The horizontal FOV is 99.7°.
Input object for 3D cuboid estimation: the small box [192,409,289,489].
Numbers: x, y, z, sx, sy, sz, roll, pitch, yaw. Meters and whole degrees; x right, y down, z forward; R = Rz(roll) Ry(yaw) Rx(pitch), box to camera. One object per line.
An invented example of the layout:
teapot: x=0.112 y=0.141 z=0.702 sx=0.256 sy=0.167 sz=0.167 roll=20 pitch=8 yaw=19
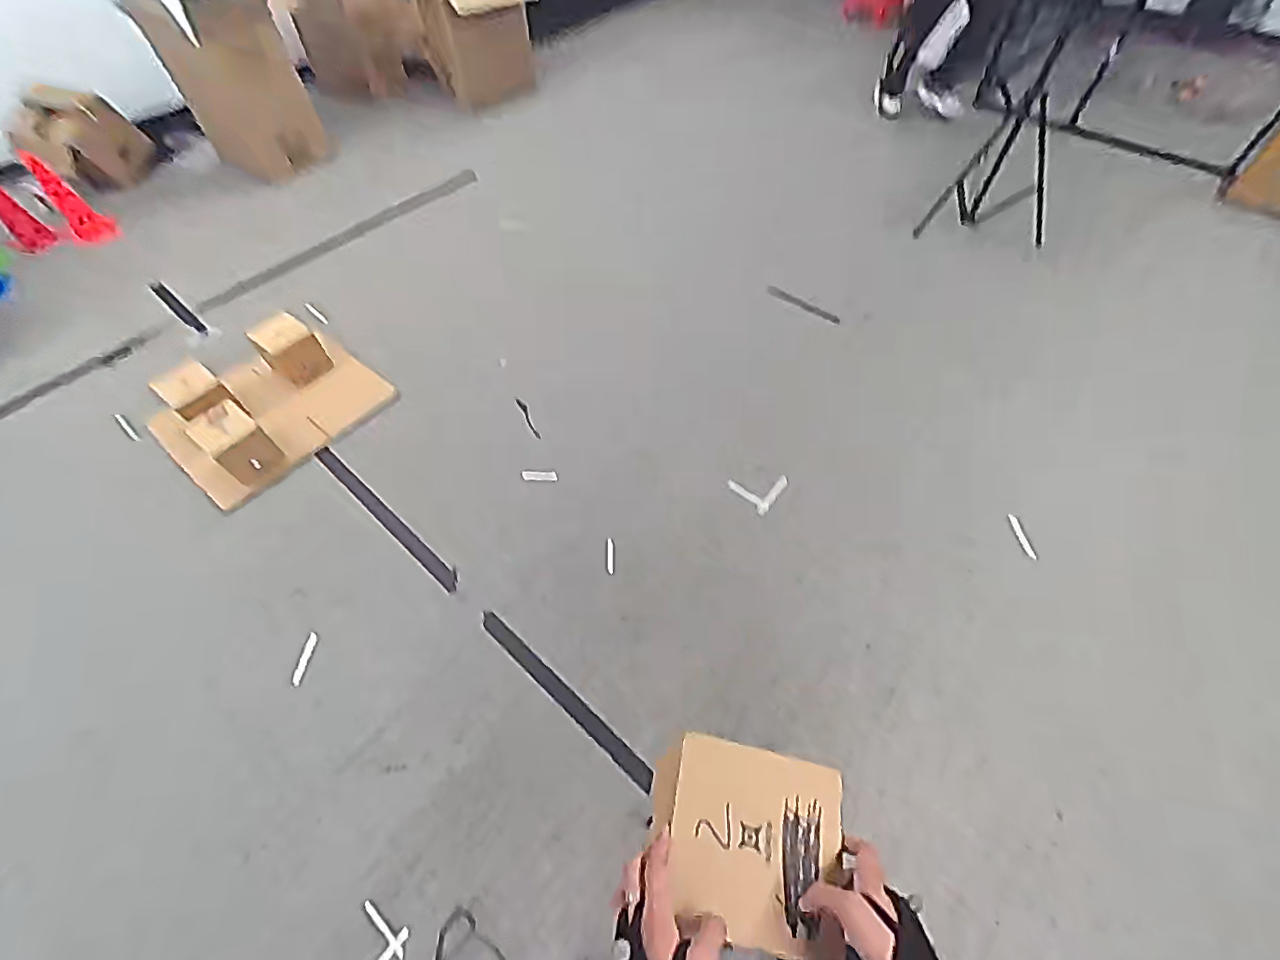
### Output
small box: x=-1.350 y=-0.101 z=1.838 sx=0.179 sy=0.176 sz=0.168 roll=33 pitch=62 yaw=20

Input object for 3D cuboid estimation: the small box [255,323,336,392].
small box: x=-1.336 y=-0.474 z=2.105 sx=0.179 sy=0.176 sz=0.168 roll=30 pitch=61 yaw=20

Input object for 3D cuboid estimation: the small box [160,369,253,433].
small box: x=-1.557 y=-0.261 z=1.951 sx=0.179 sy=0.176 sz=0.168 roll=34 pitch=63 yaw=21
